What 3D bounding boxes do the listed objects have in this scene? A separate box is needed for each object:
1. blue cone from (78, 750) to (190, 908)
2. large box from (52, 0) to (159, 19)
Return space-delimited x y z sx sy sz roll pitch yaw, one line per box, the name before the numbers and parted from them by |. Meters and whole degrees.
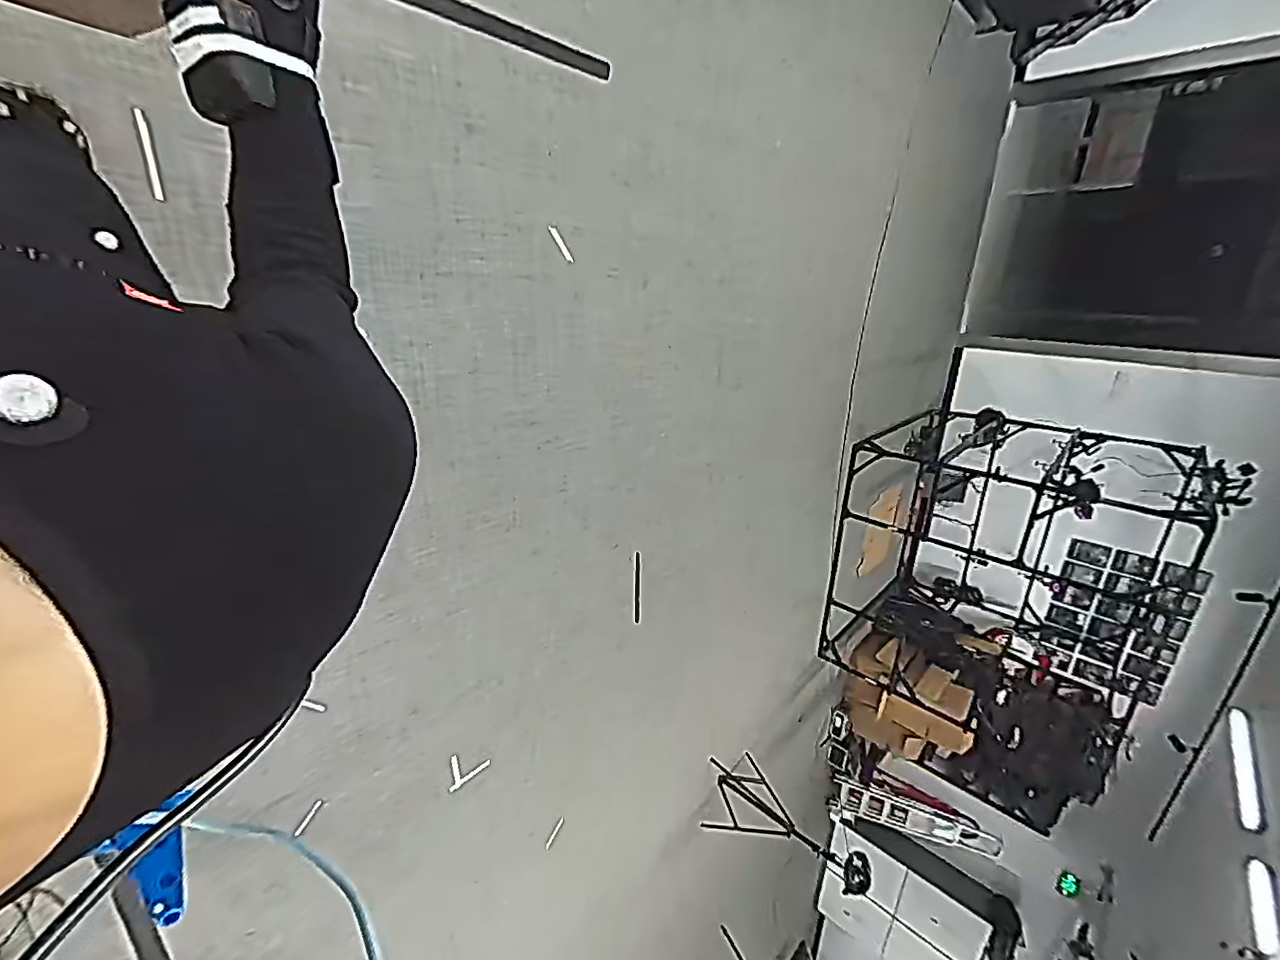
blue cone | -1.089 0.799 1.195 0.193 0.380 0.192 10 97 -51
large box | -0.516 -0.506 0.262 0.408 0.320 0.320 -17 125 -48
